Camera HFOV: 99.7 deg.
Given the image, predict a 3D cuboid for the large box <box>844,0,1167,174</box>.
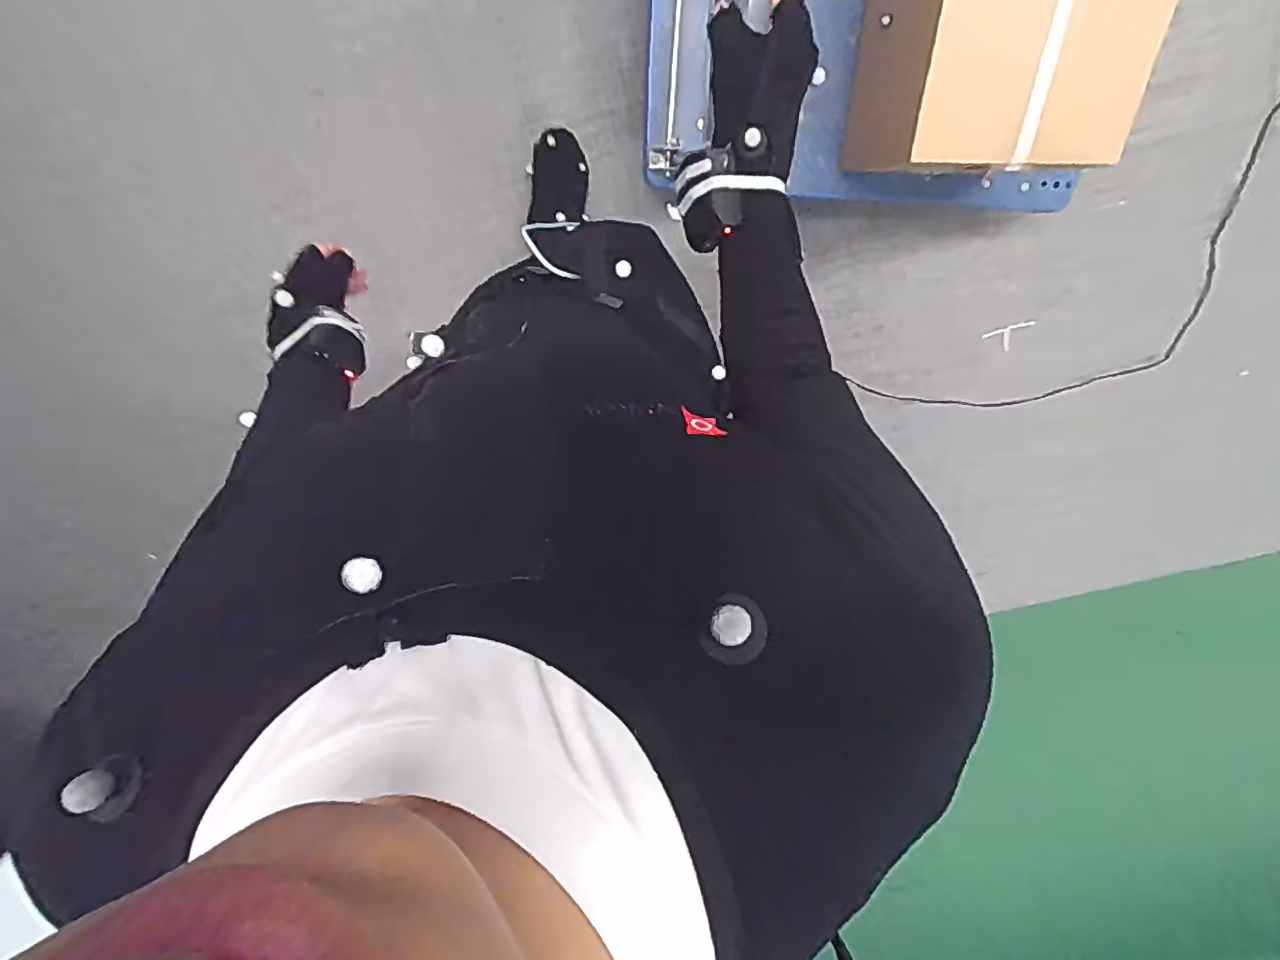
[{"bbox_3d":[0.550,-0.717,0.846,0.320,0.320,0.408,0,117,-2],"label":"large box"}]
